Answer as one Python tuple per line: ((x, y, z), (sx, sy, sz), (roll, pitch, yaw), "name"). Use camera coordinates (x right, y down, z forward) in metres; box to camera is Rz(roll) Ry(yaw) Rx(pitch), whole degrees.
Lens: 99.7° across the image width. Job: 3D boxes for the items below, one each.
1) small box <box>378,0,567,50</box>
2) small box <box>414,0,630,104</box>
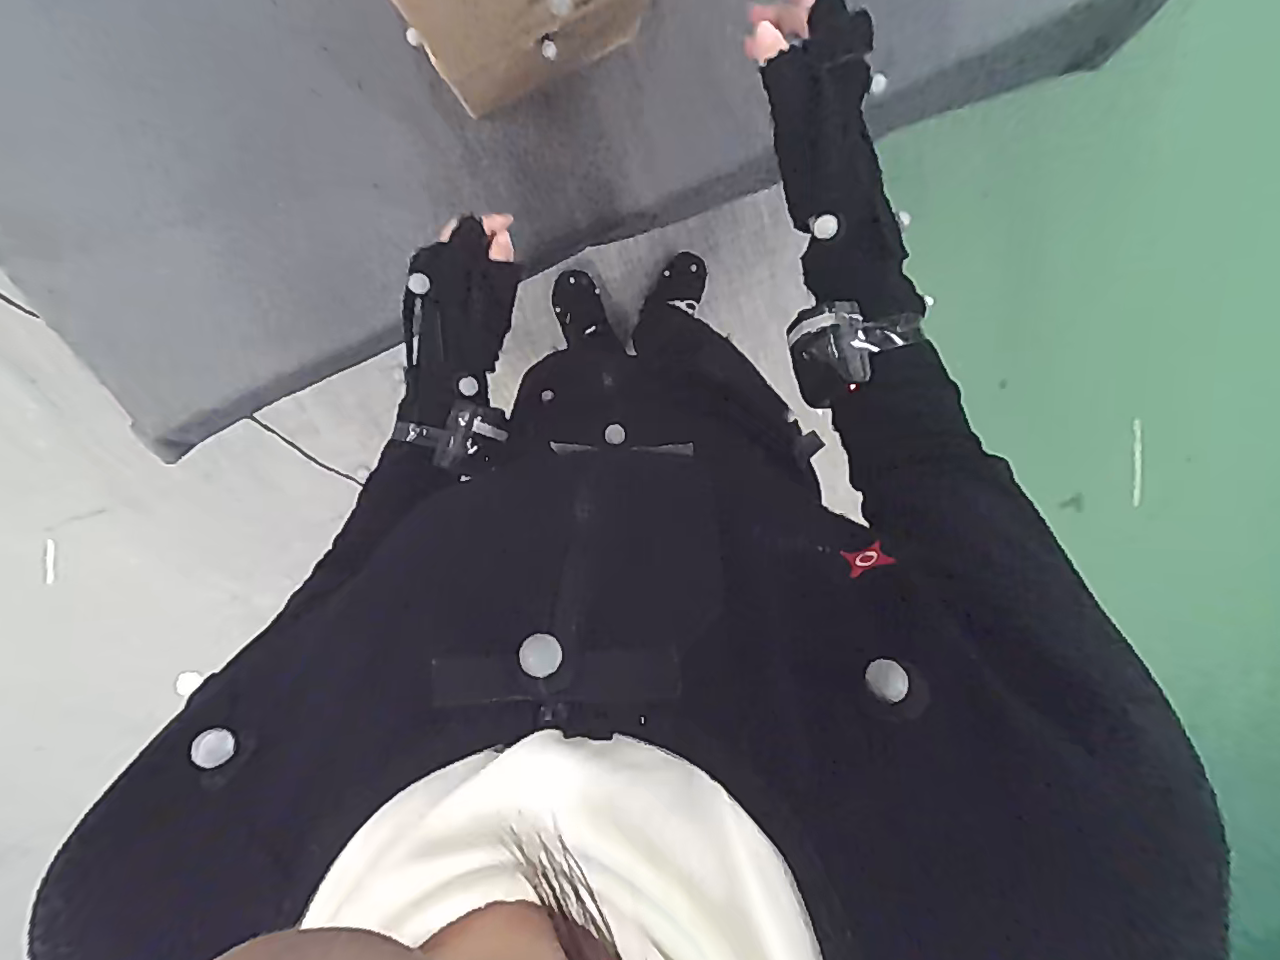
((-0.088, -0.350, 0.262), (0.168, 0.176, 0.179), (-25, 116, 4), "small box")
((-0.109, -0.422, 0.408), (0.179, 0.176, 0.168), (-25, 115, 3), "small box")
